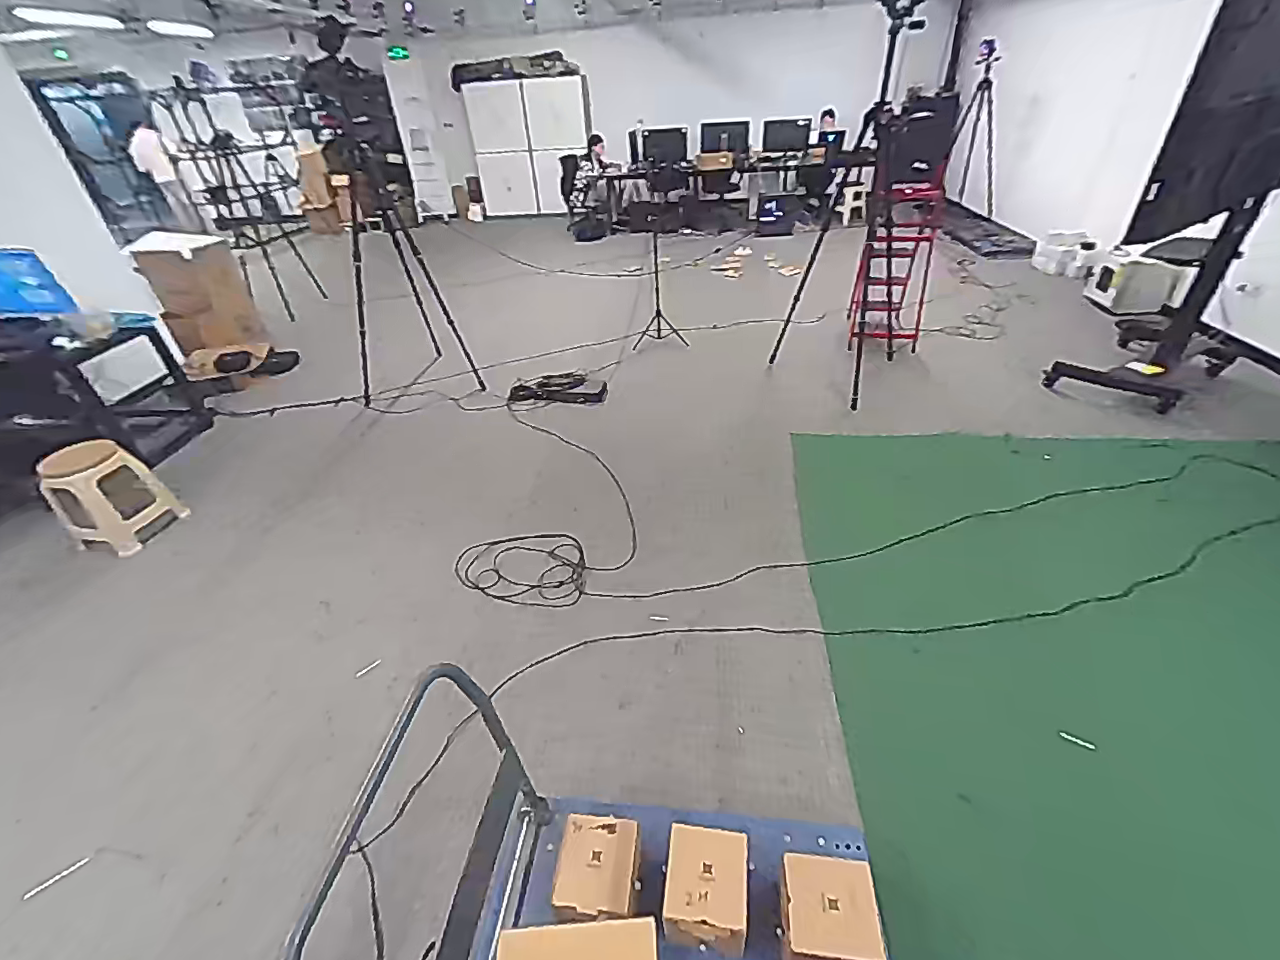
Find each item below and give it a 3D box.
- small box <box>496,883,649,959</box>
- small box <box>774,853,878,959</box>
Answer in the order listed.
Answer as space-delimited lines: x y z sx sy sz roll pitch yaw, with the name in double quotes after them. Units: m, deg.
-0.072 0.578 0.572 0.179 0.176 0.168 20 50 21 "small box"
0.369 0.903 1.112 0.179 0.176 0.168 2 37 9 "small box"
